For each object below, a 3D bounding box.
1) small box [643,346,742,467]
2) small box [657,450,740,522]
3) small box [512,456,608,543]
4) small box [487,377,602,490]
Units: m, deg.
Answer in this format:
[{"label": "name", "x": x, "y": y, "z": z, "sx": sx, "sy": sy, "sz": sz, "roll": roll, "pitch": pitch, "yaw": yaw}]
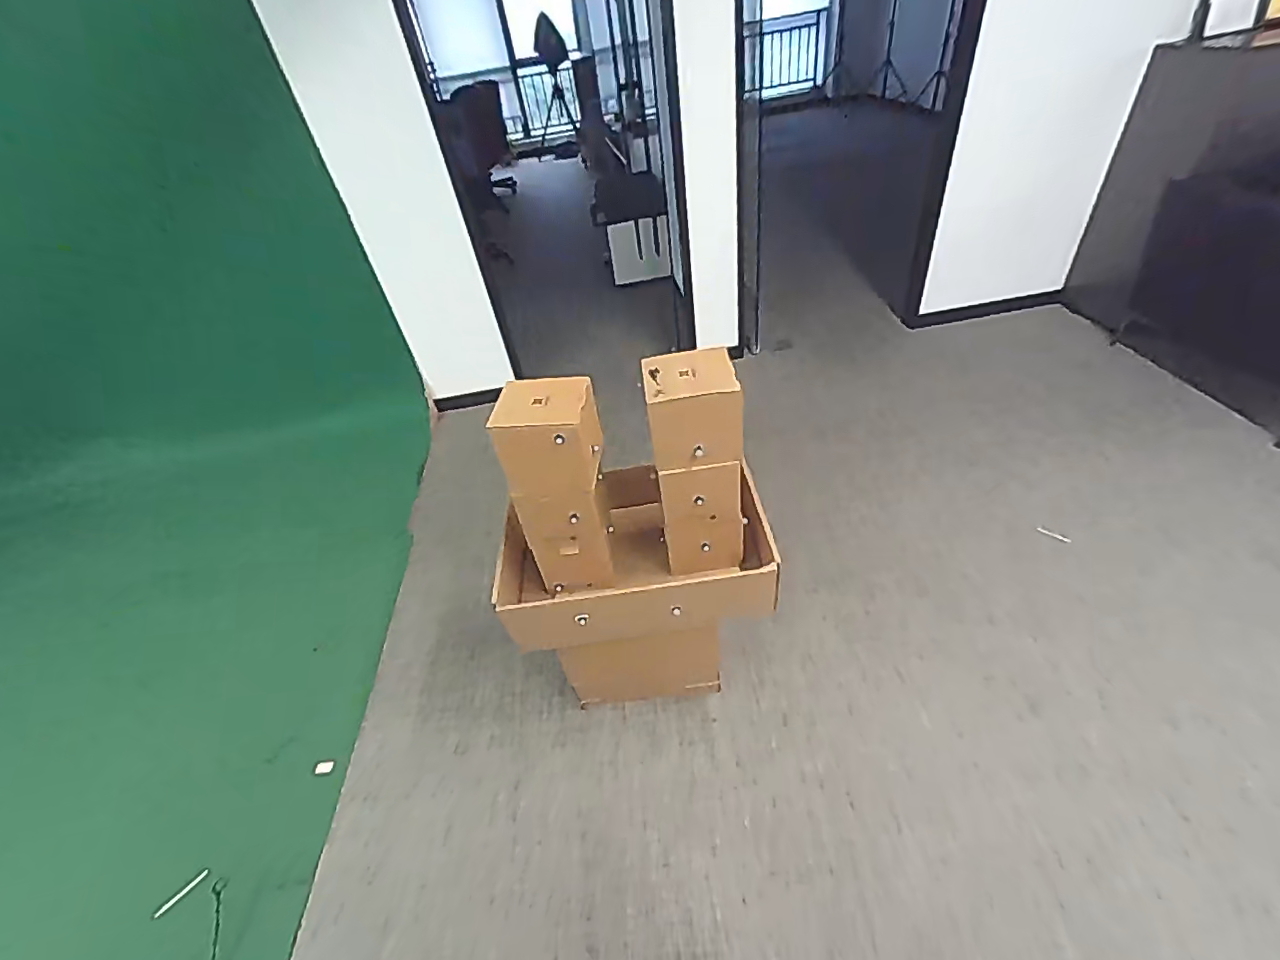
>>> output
[{"label": "small box", "x": 0.103, "y": -0.145, "z": 1.083, "sx": 0.179, "sy": 0.176, "sz": 0.168, "roll": -7, "pitch": 41, "yaw": 3}, {"label": "small box", "x": 0.123, "y": -0.021, "z": 1.191, "sx": 0.168, "sy": 0.176, "sz": 0.179, "roll": -8, "pitch": 41, "yaw": 2}, {"label": "small box", "x": -0.168, "y": 0.027, "z": 1.200, "sx": 0.168, "sy": 0.176, "sz": 0.179, "roll": -4, "pitch": 41, "yaw": 5}, {"label": "small box", "x": -0.183, "y": -0.091, "z": 1.090, "sx": 0.179, "sy": 0.176, "sz": 0.168, "roll": -1, "pitch": 42, "yaw": 6}]
